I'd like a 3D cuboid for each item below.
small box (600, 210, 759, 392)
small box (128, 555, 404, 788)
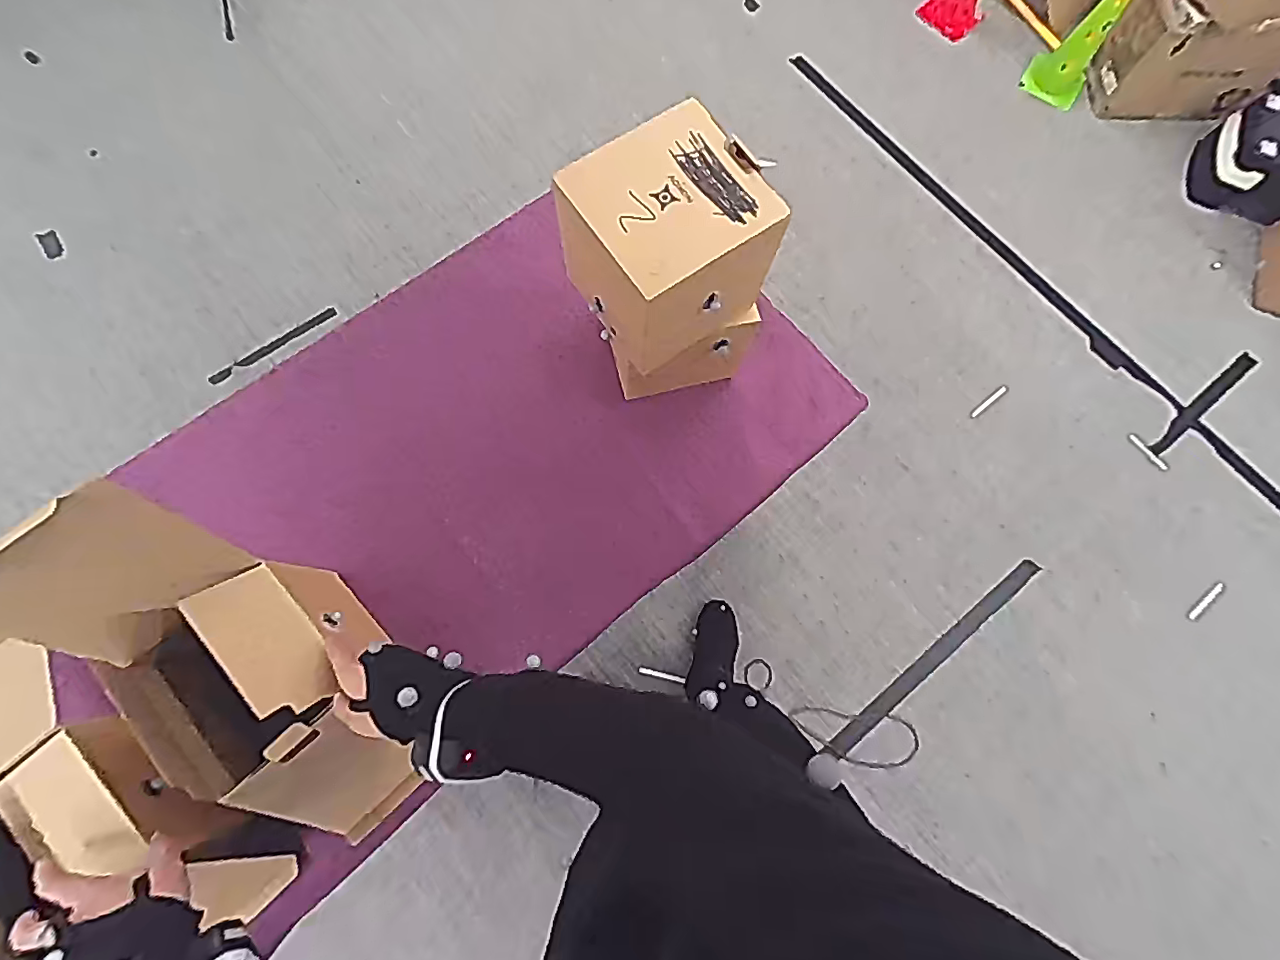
[{"bbox_3d":[0.045,-0.242,0.762,0.179,0.176,0.168,-13,77,-5],"label":"small box"},{"bbox_3d":[-0.416,0.211,0.639,0.168,0.176,0.179,-41,81,-11],"label":"small box"}]
